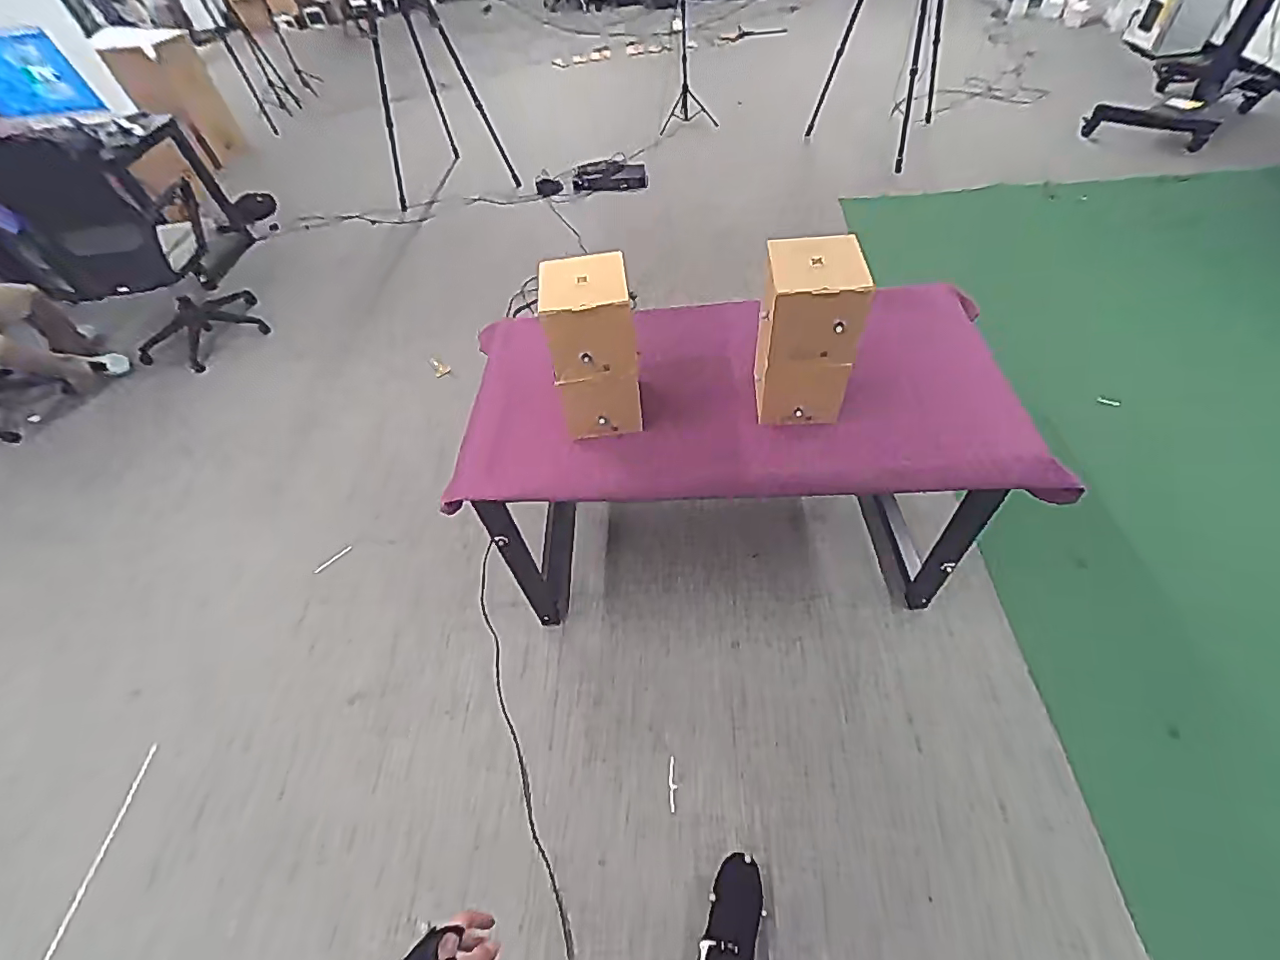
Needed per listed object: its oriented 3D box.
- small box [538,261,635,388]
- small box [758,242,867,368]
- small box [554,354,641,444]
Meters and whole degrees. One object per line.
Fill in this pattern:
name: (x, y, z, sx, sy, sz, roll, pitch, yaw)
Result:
small box: (-0.103, -0.308, 1.077, 0.168, 0.176, 0.179, -8, 51, 0)
small box: (0.320, -0.329, 1.037, 0.168, 0.176, 0.179, -1, 51, 6)
small box: (-0.090, -0.203, 1.201, 0.168, 0.176, 0.179, -7, 51, 3)
